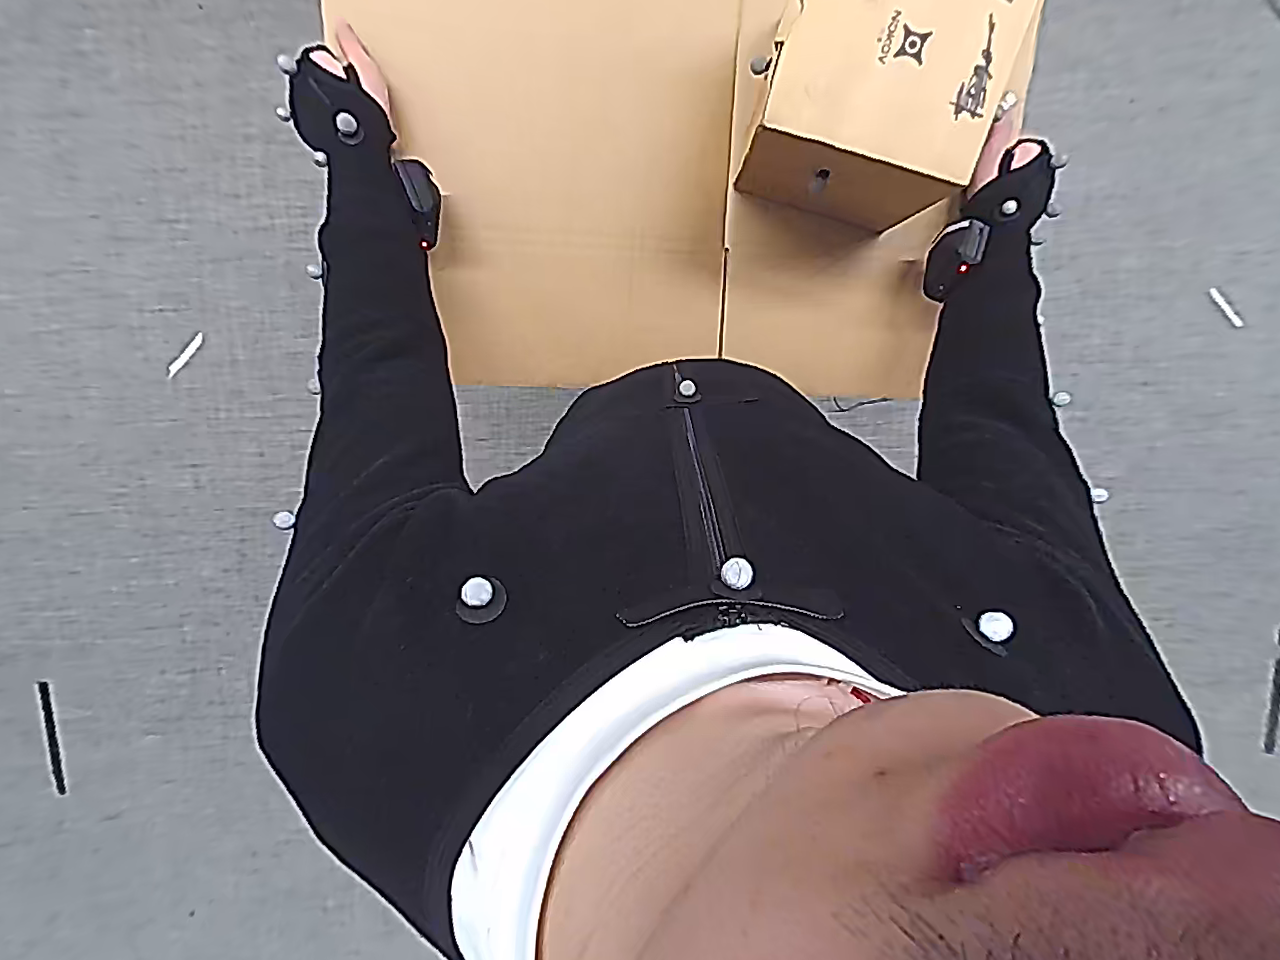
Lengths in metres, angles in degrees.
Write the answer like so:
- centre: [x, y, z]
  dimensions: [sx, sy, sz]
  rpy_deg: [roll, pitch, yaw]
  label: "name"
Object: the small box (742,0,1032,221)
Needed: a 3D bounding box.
- centre: [0.204, -0.357, 0.493]
  dimensions: [0.179, 0.176, 0.168]
  rpy_deg: [16, 103, 0]
  label: "small box"
